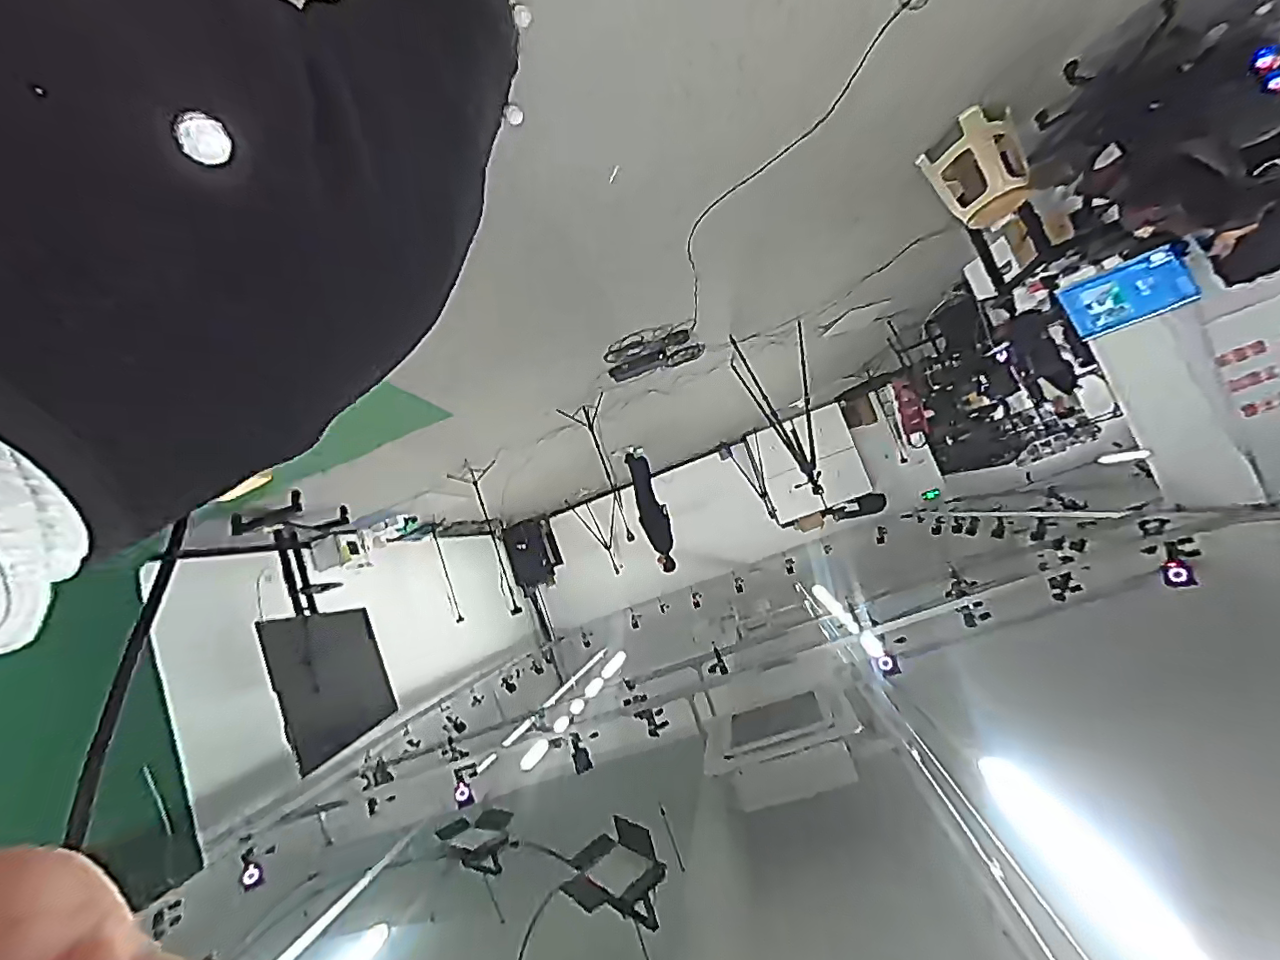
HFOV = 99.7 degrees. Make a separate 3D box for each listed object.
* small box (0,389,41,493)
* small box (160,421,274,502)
[{"bbox_3d":[-1.283,-0.072,0.999,0.179,0.176,0.168,-23,172,12],"label":"small box"},{"bbox_3d":[-1.163,-0.050,1.484,0.179,0.176,0.168,-23,172,14],"label":"small box"}]
